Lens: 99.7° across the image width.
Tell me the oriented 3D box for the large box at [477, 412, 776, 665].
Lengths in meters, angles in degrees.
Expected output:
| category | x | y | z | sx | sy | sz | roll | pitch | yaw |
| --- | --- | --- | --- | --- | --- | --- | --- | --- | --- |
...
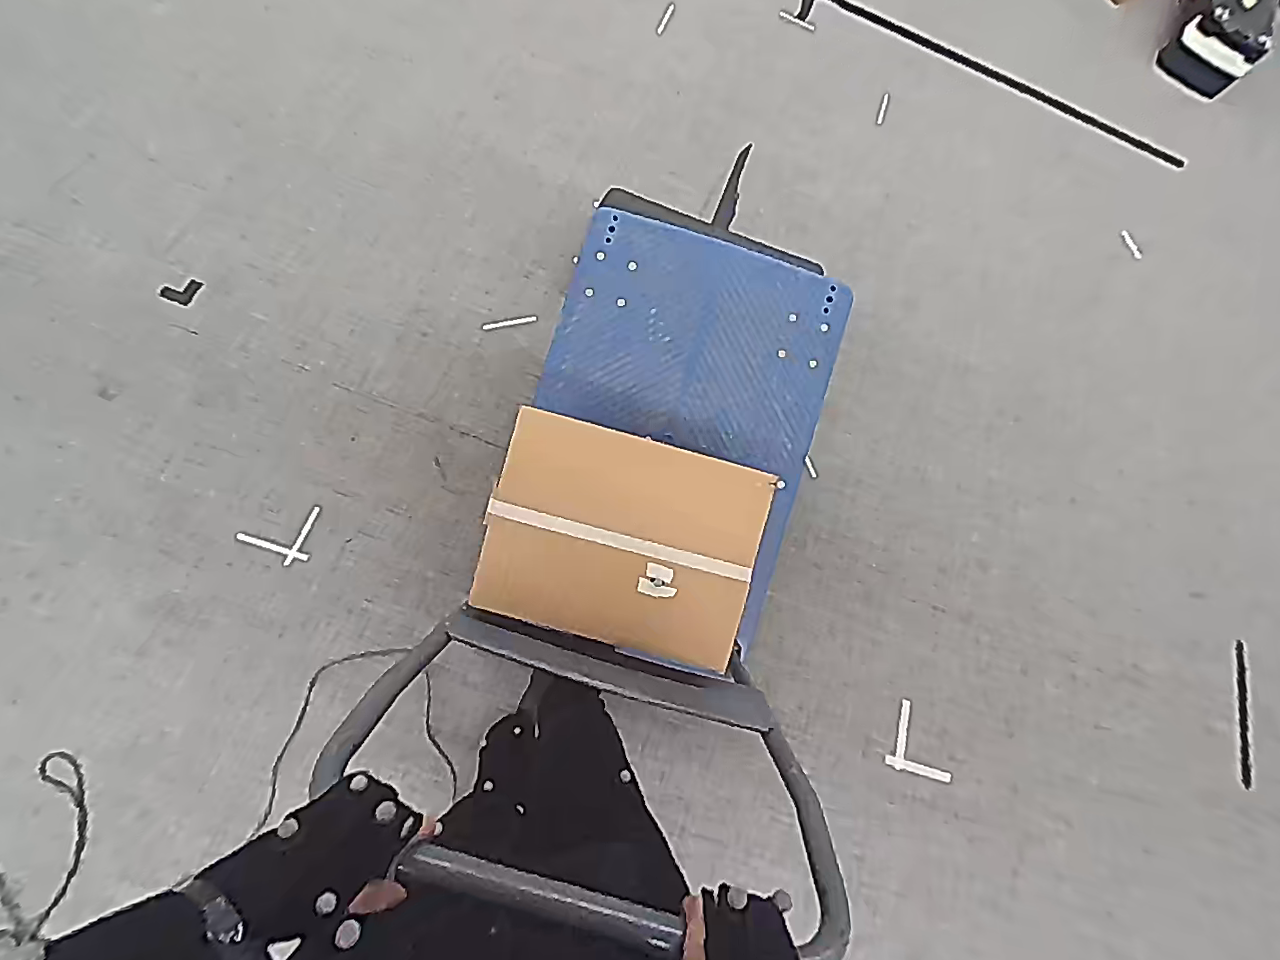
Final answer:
| category | x | y | z | sx | sy | sz | roll | pitch | yaw |
| --- | --- | --- | --- | --- | --- | --- | --- | --- | --- |
| large box | -0.026 | 0.089 | 0.969 | 0.408 | 0.320 | 0.320 | 15 | 91 | -3 |
